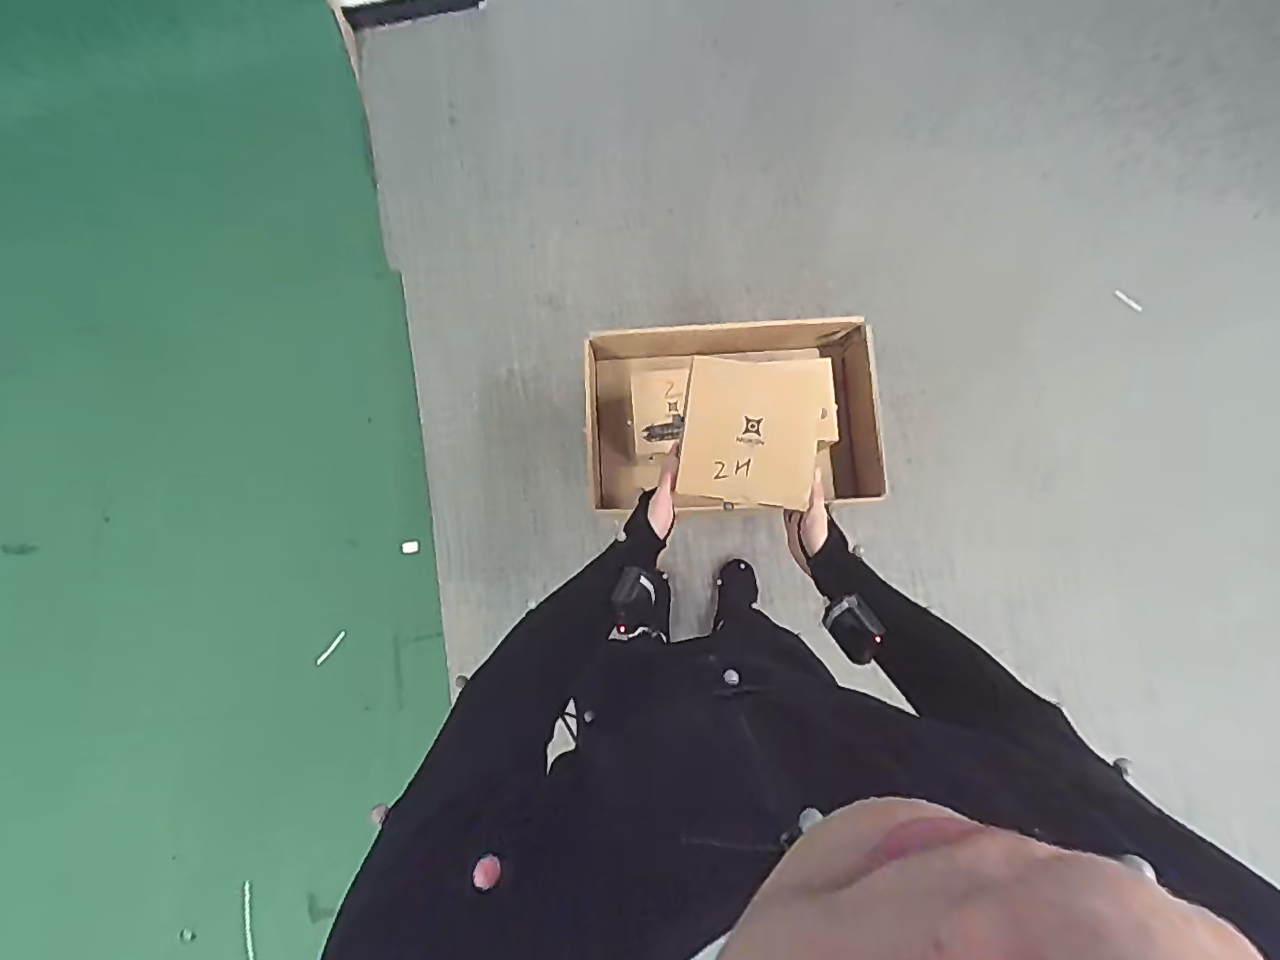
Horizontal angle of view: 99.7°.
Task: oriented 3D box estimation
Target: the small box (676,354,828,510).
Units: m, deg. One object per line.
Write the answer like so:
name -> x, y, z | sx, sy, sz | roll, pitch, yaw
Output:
small box -> 0.142, -0.060, 0.746 | 0.168, 0.176, 0.179 | 8, 91, 2

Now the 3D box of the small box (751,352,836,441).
small box -> 0.313, -0.167, 1.189 | 0.168, 0.176, 0.179 | -4, 85, 0
